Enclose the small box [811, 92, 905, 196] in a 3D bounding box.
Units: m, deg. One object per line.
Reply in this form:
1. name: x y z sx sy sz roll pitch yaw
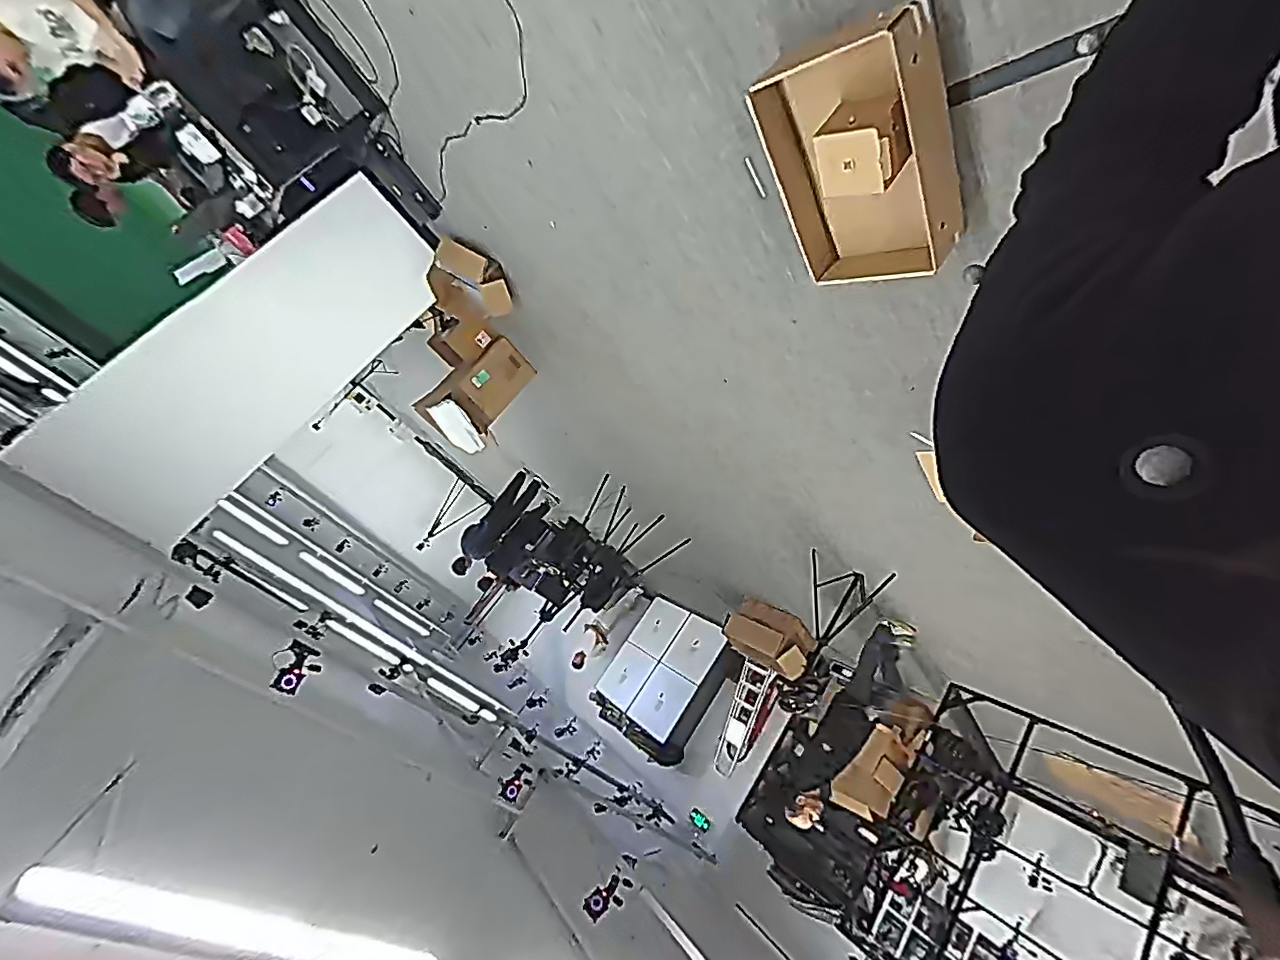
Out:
1. small box: 0.575 -0.872 1.408 0.179 0.176 0.168 21 156 40
